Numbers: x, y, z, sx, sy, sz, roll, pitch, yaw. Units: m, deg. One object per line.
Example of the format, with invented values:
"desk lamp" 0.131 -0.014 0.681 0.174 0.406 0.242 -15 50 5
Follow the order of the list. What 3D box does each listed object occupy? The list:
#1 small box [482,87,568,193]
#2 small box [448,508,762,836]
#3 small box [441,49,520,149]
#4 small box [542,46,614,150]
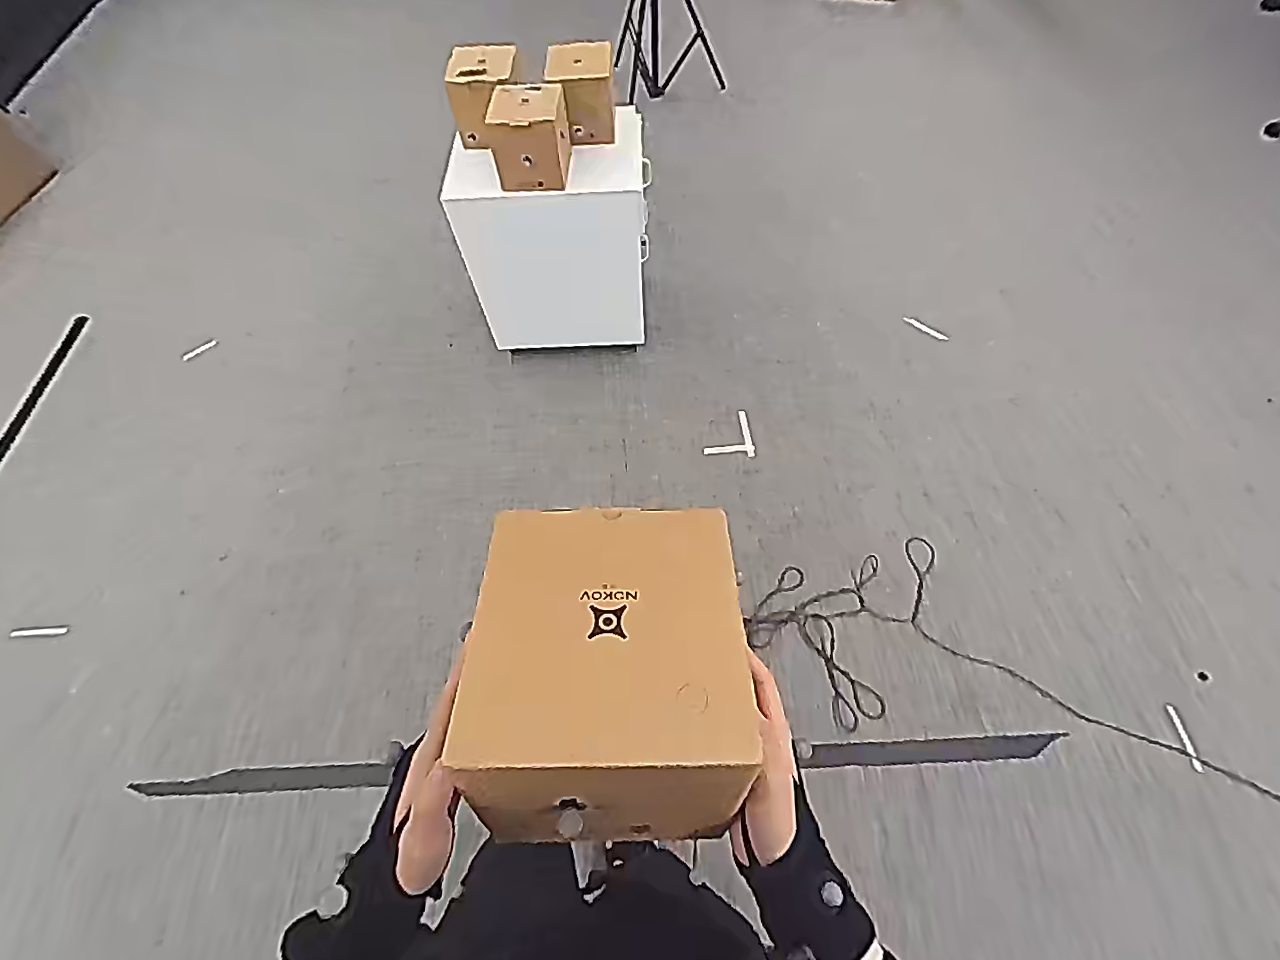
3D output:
"small box" -0.278 -0.842 1.349 0.168 0.176 0.179 0 61 2
"small box" -0.019 0.140 0.389 0.168 0.176 0.179 0 44 -2
"small box" -0.410 -1.011 1.446 0.168 0.176 0.179 -1 61 1
"small box" -0.160 -1.016 1.442 0.168 0.176 0.179 -3 63 2
